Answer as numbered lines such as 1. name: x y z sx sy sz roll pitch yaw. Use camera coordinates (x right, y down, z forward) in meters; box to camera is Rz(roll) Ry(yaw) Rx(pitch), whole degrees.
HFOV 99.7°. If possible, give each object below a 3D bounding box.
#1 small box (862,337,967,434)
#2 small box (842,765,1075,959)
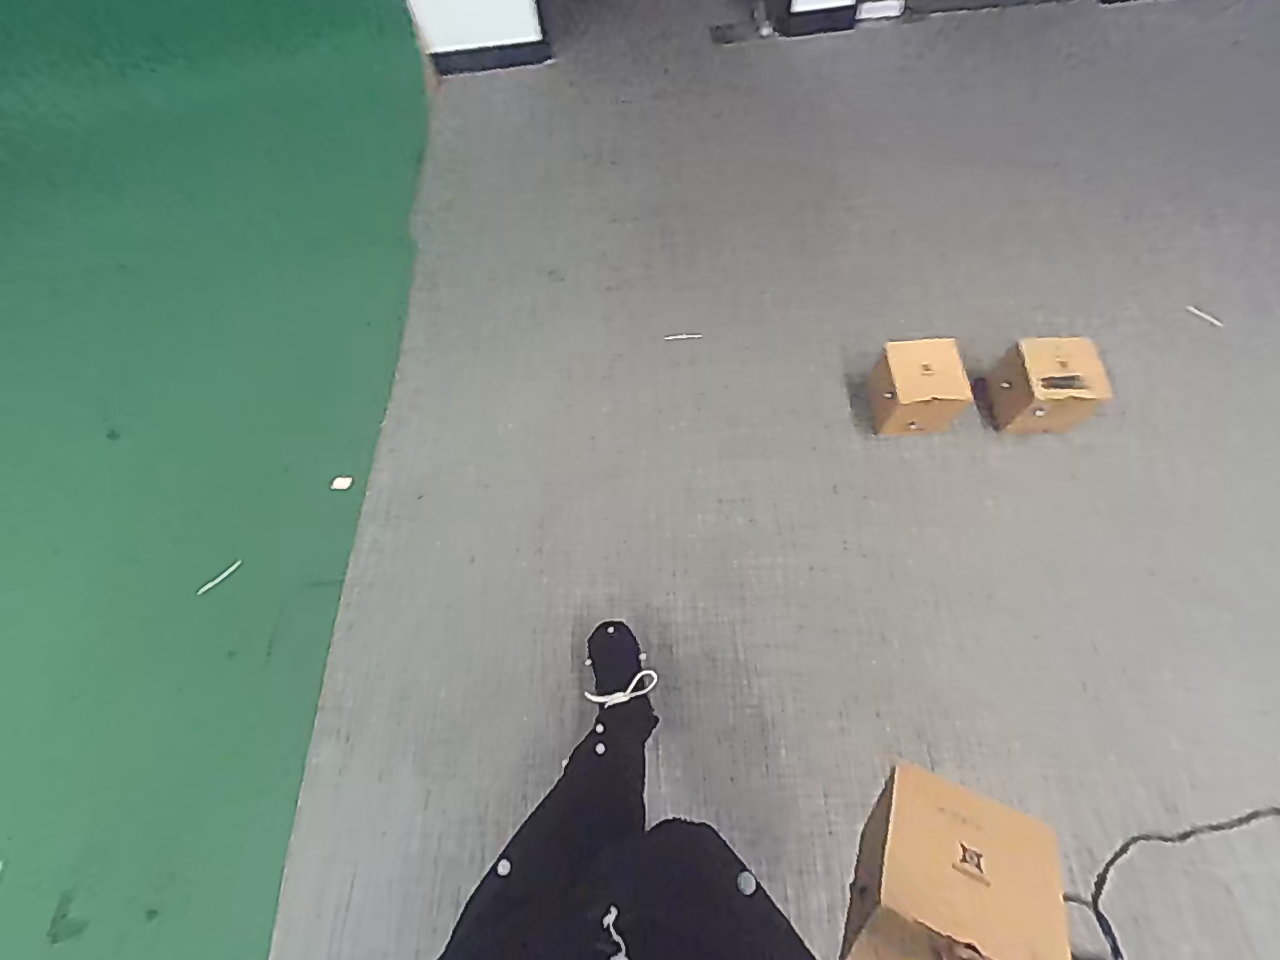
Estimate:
1. small box: 0.675 -0.232 1.354 0.168 0.176 0.179 -3 66 2
2. small box: 0.331 0.466 0.583 0.168 0.176 0.179 19 30 23
